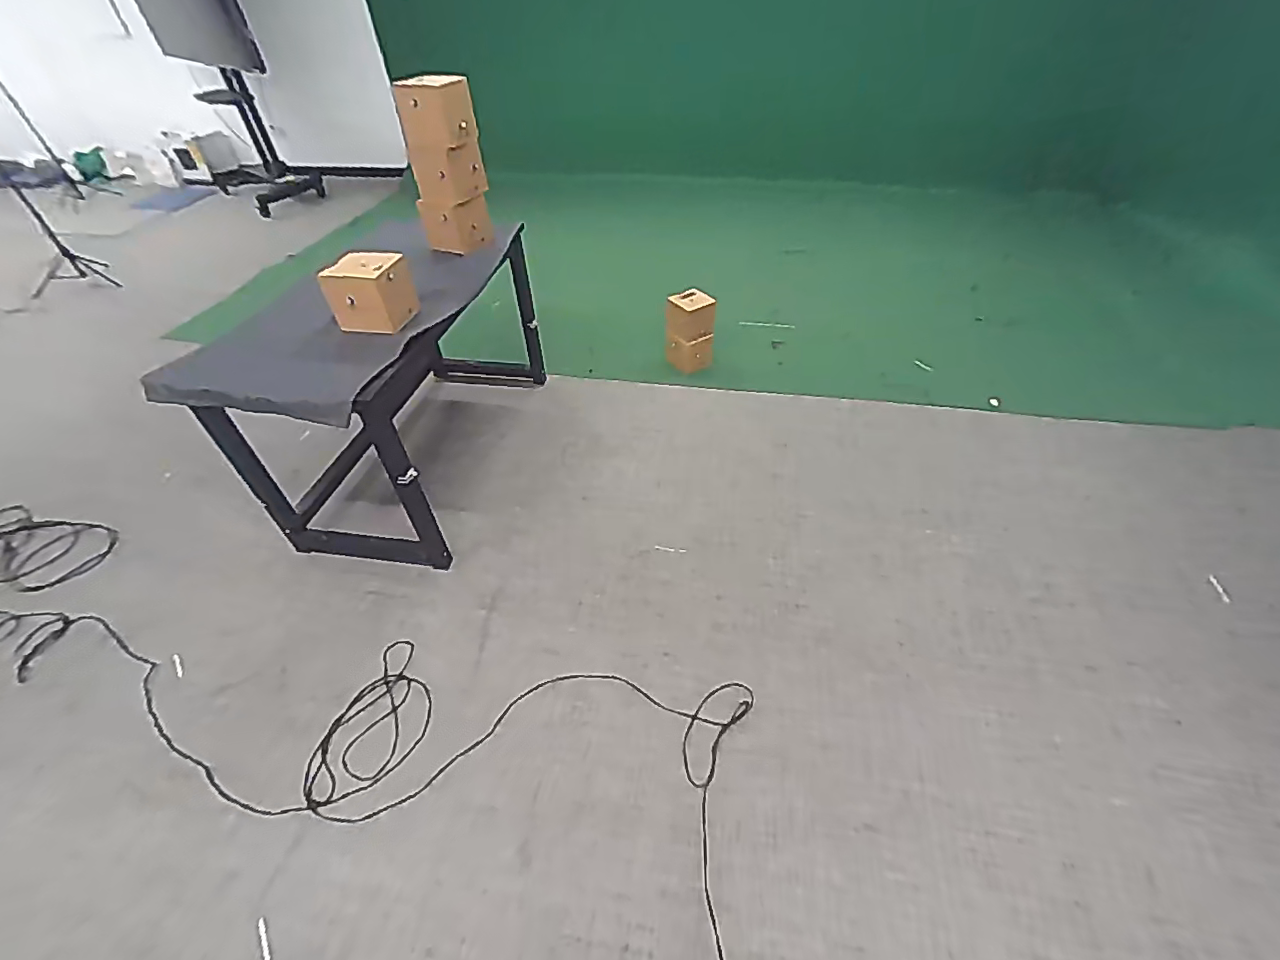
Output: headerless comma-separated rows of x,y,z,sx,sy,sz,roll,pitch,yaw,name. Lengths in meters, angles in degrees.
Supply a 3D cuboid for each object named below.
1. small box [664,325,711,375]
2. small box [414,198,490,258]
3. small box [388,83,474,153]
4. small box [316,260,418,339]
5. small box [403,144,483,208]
0.237,-0.645,2.698,0.168,0.176,0.179,-27,49,-23,small box
-0.677,-0.926,1.970,0.179,0.176,0.168,19,48,24,small box
-0.672,-1.177,1.760,0.179,0.176,0.168,12,45,15,small box
-0.780,-0.521,1.564,0.179,0.176,0.168,4,44,9,small box
-0.672,-1.054,1.870,0.179,0.176,0.168,15,46,20,small box
